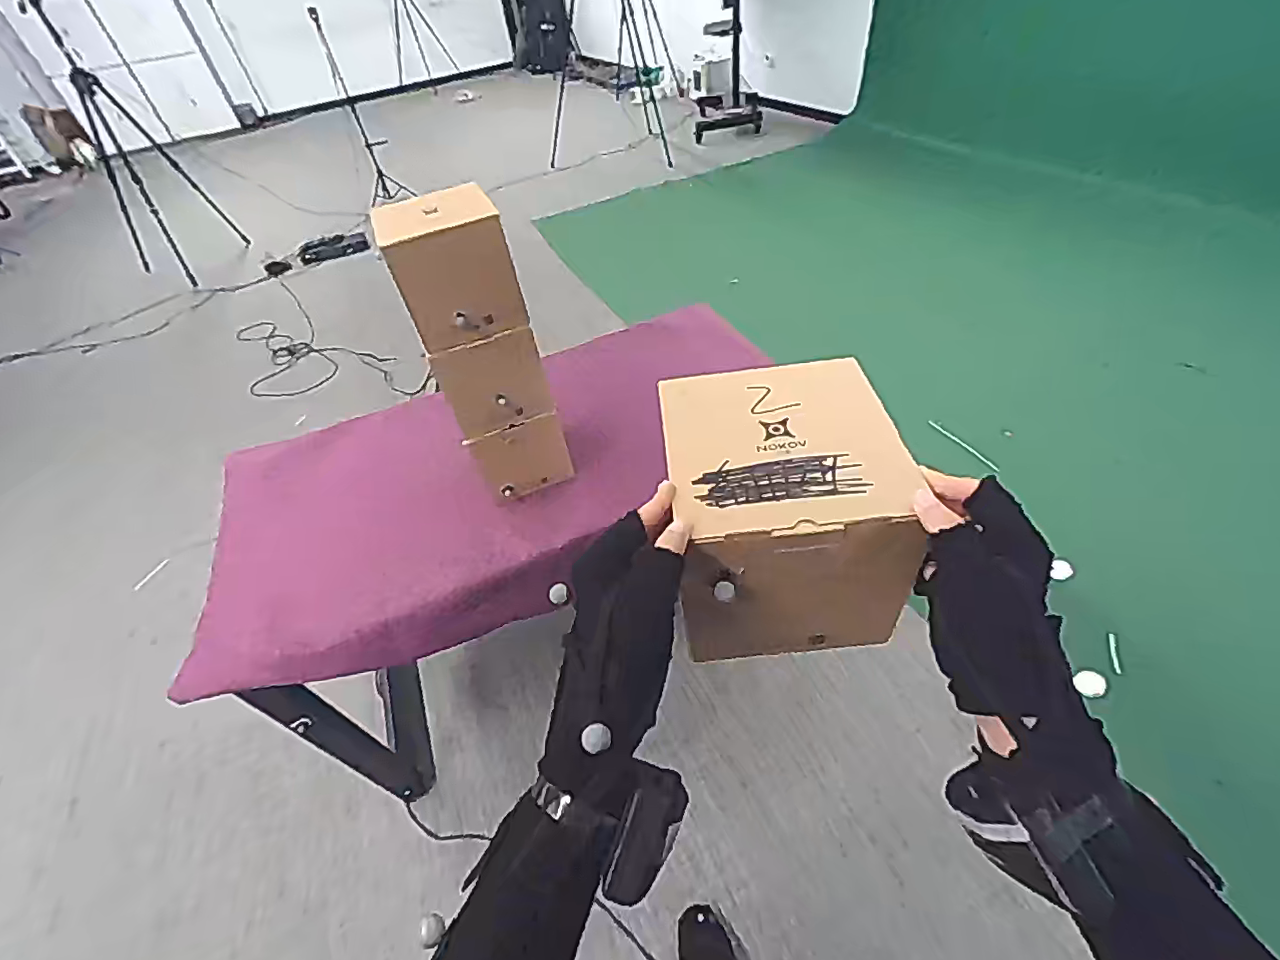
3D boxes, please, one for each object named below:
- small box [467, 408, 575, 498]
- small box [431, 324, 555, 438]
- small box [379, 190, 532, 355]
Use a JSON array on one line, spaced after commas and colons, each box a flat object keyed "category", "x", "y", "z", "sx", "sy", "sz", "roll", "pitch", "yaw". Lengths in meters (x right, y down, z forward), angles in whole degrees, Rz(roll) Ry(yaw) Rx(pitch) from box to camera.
[{"category": "small box", "x": -0.239, "y": -0.085, "z": 1.060, "sx": 0.168, "sy": 0.176, "sz": 0.179, "roll": -21, "pitch": 45, "yaw": -11}, {"category": "small box", "x": -0.263, "y": -0.204, "z": 0.949, "sx": 0.168, "sy": 0.176, "sz": 0.179, "roll": -21, "pitch": 47, "yaw": -11}, {"category": "small box", "x": -0.282, "y": -0.321, "z": 0.837, "sx": 0.168, "sy": 0.176, "sz": 0.179, "roll": -21, "pitch": 46, "yaw": -11}]
